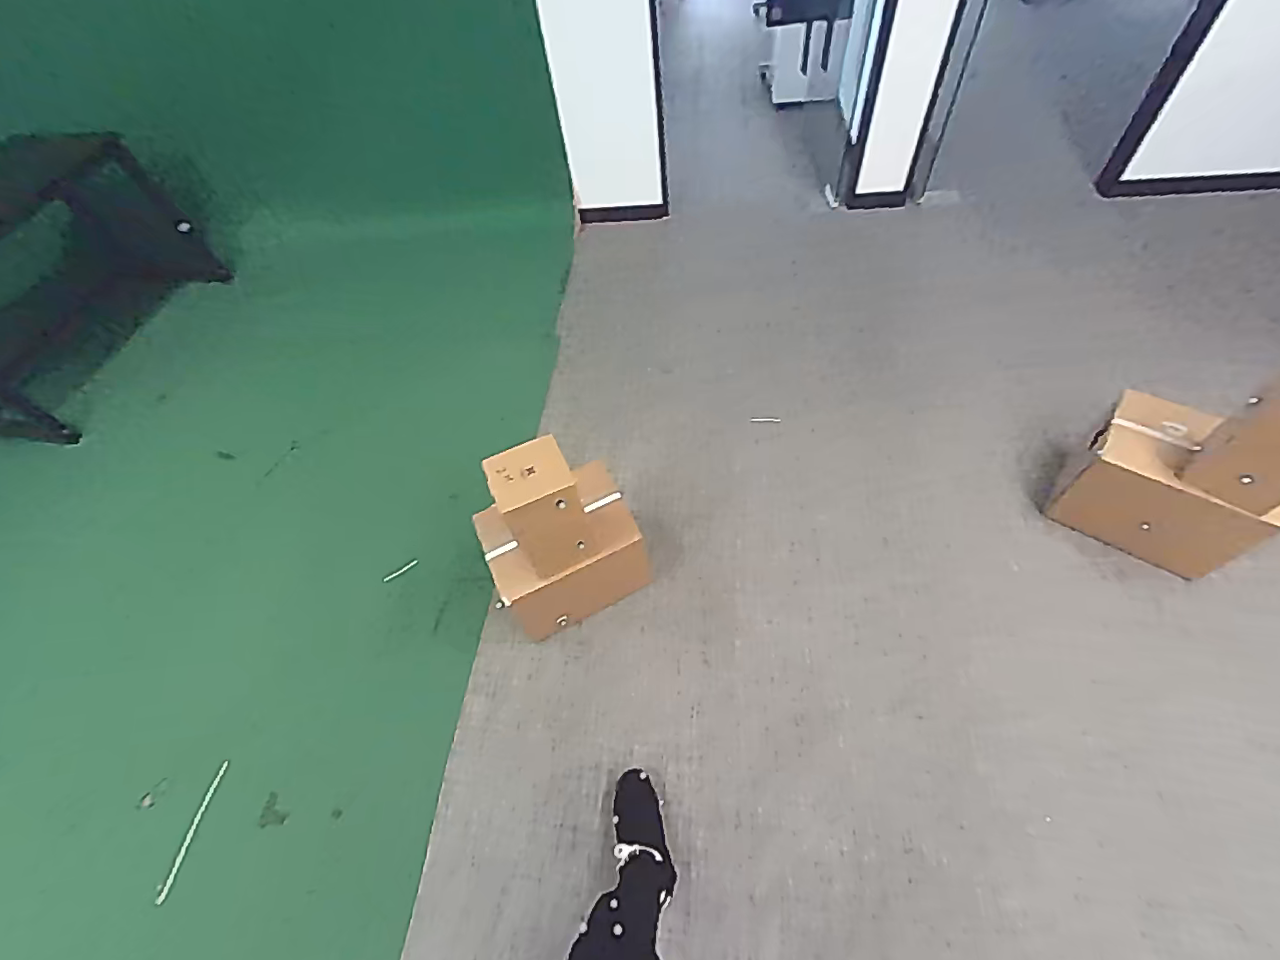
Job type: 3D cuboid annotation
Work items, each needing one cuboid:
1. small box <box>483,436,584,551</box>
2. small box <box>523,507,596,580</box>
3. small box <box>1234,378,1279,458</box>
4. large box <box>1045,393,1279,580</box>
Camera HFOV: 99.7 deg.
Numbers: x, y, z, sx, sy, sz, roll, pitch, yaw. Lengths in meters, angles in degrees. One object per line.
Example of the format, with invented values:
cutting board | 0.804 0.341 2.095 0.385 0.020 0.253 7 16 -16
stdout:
small box | -0.238 0.034 1.252 0.179 0.176 0.168 -23 55 -9
small box | -0.222 0.127 1.387 0.179 0.176 0.168 -25 56 -10
small box | 1.472 -0.144 1.169 0.179 0.176 0.168 32 66 27
large box | 1.497 0.018 1.554 0.408 0.320 0.320 29 62 25
